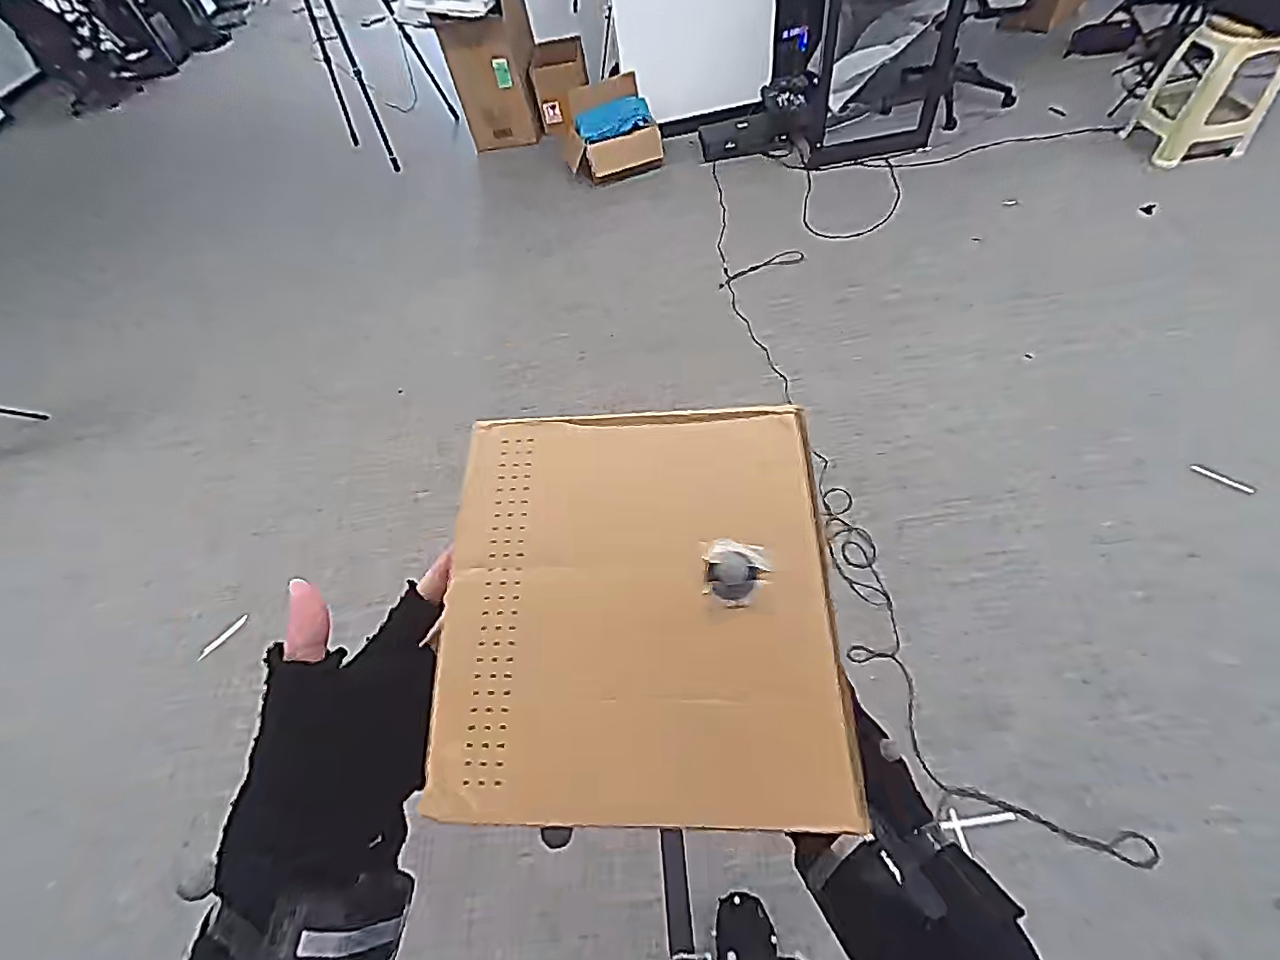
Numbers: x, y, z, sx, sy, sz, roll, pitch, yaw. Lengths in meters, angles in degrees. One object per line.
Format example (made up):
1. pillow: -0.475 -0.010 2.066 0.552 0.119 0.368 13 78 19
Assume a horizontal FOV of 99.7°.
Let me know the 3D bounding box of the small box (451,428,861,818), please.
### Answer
1. small box: 0.007 0.086 0.315 0.176 0.168 0.179 -2 65 5
